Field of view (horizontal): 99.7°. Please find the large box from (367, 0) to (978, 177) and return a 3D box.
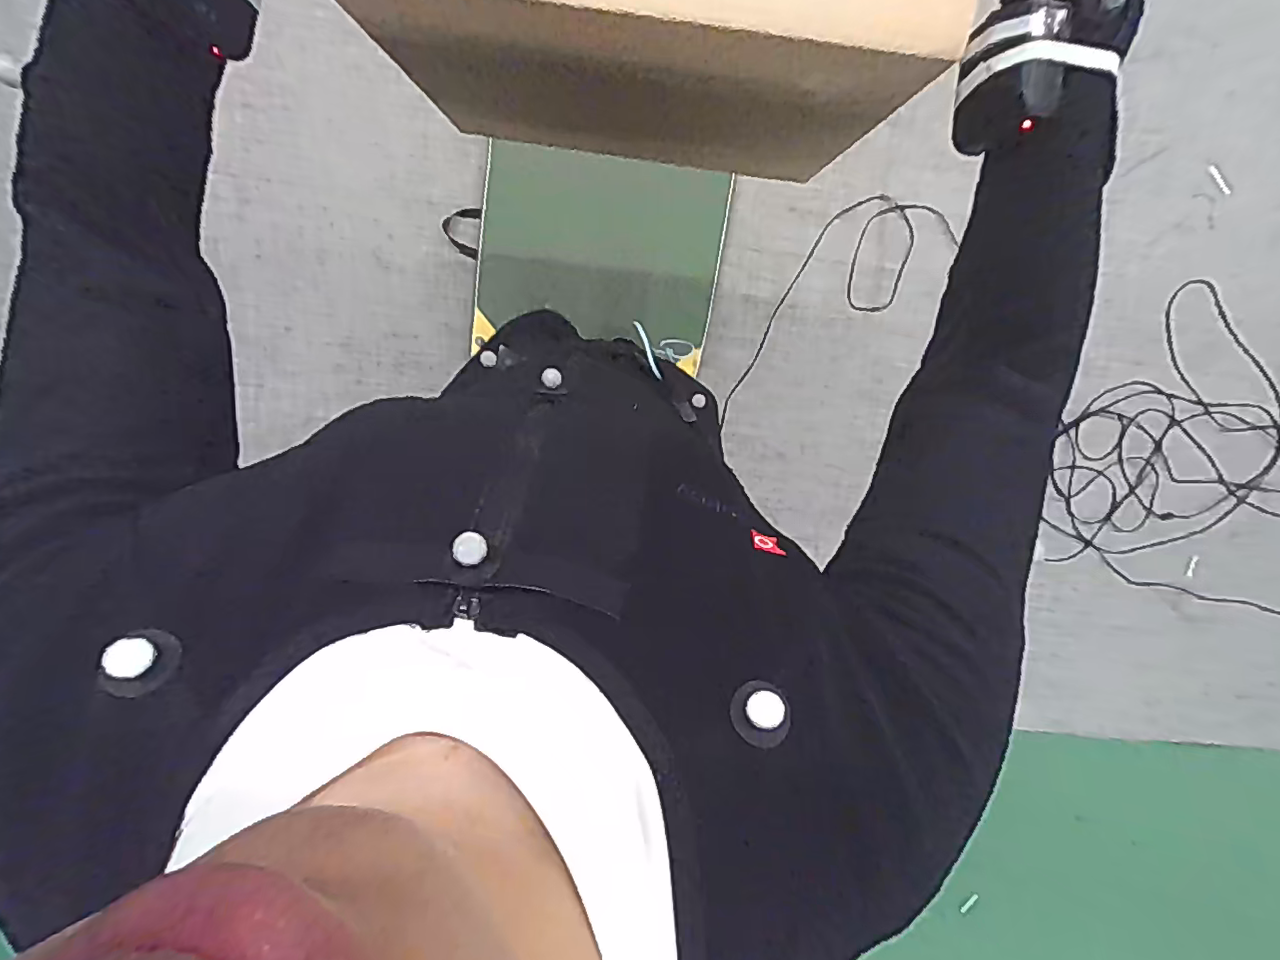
[{"bbox_3d":[0.023,-0.475,0.440,0.408,0.320,0.320,6,107,-3],"label":"large box"}]
